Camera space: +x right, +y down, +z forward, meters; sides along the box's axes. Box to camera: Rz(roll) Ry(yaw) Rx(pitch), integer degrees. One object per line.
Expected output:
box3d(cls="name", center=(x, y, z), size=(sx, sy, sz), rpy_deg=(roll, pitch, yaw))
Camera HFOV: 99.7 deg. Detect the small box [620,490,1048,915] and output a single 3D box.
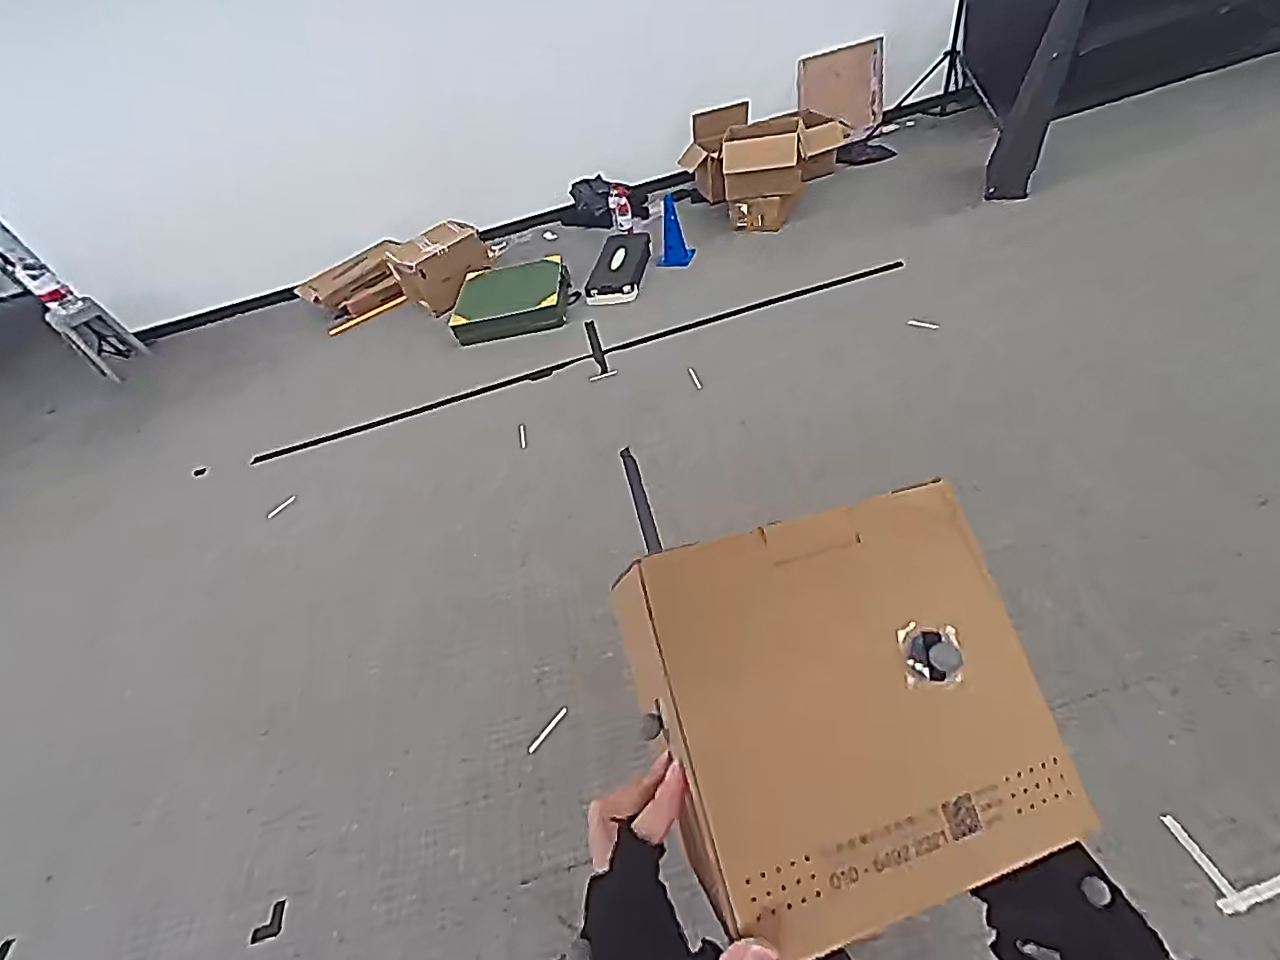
box3d(cls="small box", center=(0.092, 0.123, 0.335), size=(0.168, 0.179, 0.176), rpy_deg=(-13, 76, -10))
